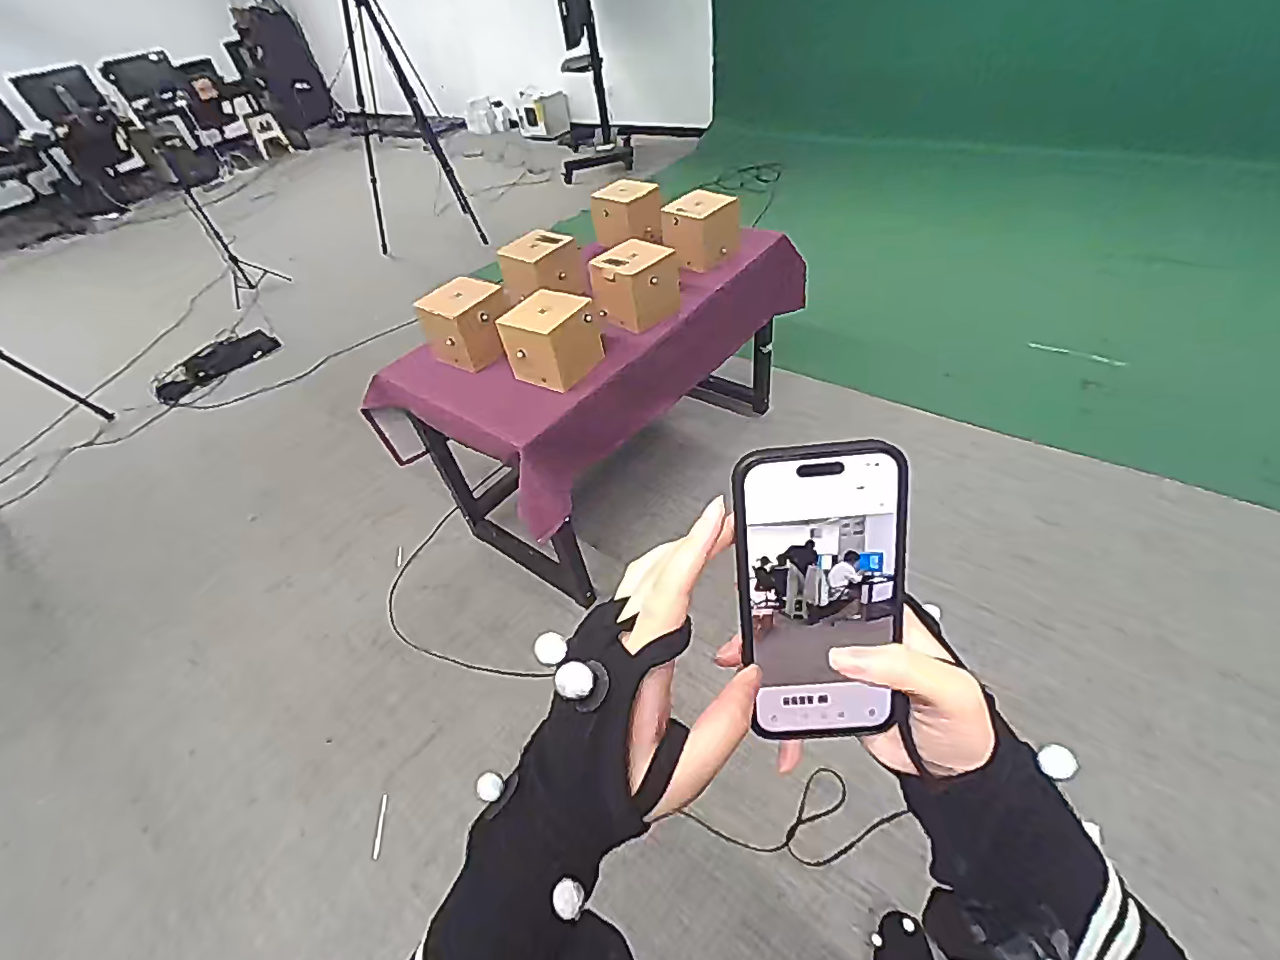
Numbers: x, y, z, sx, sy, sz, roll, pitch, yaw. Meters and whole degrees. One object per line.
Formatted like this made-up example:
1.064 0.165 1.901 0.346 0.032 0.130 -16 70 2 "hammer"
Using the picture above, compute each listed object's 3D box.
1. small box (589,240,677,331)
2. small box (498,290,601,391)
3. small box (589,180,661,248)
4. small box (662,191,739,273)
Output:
-0.011 -0.533 1.487 0.168 0.176 0.179 32 57 33 "small box"
-0.215 -0.345 1.340 0.168 0.176 0.179 20 51 27 "small box"
-0.046 -0.901 1.851 0.179 0.176 0.168 30 58 32 "small box"
0.189 -0.773 1.686 0.179 0.176 0.168 -39 51 -26 "small box"
